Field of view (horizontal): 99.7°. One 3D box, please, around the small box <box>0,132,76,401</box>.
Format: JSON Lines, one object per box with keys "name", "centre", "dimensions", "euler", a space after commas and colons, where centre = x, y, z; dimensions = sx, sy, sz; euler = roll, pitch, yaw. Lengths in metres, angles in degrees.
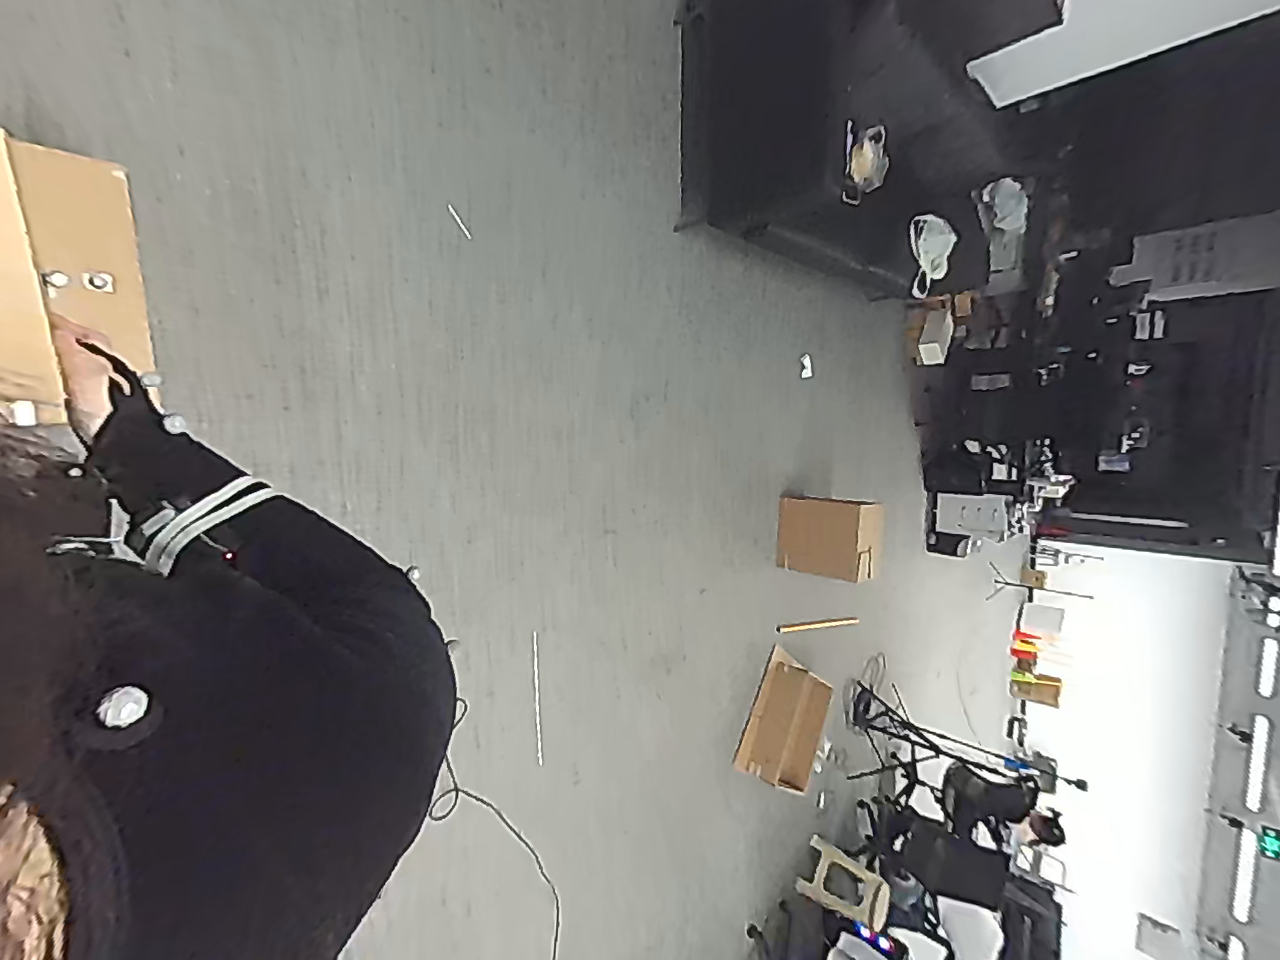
{"name": "small box", "centre": [-0.503, -0.145, 0.345], "dimensions": [0.179, 0.176, 0.168], "euler": [-12, 115, -44]}
